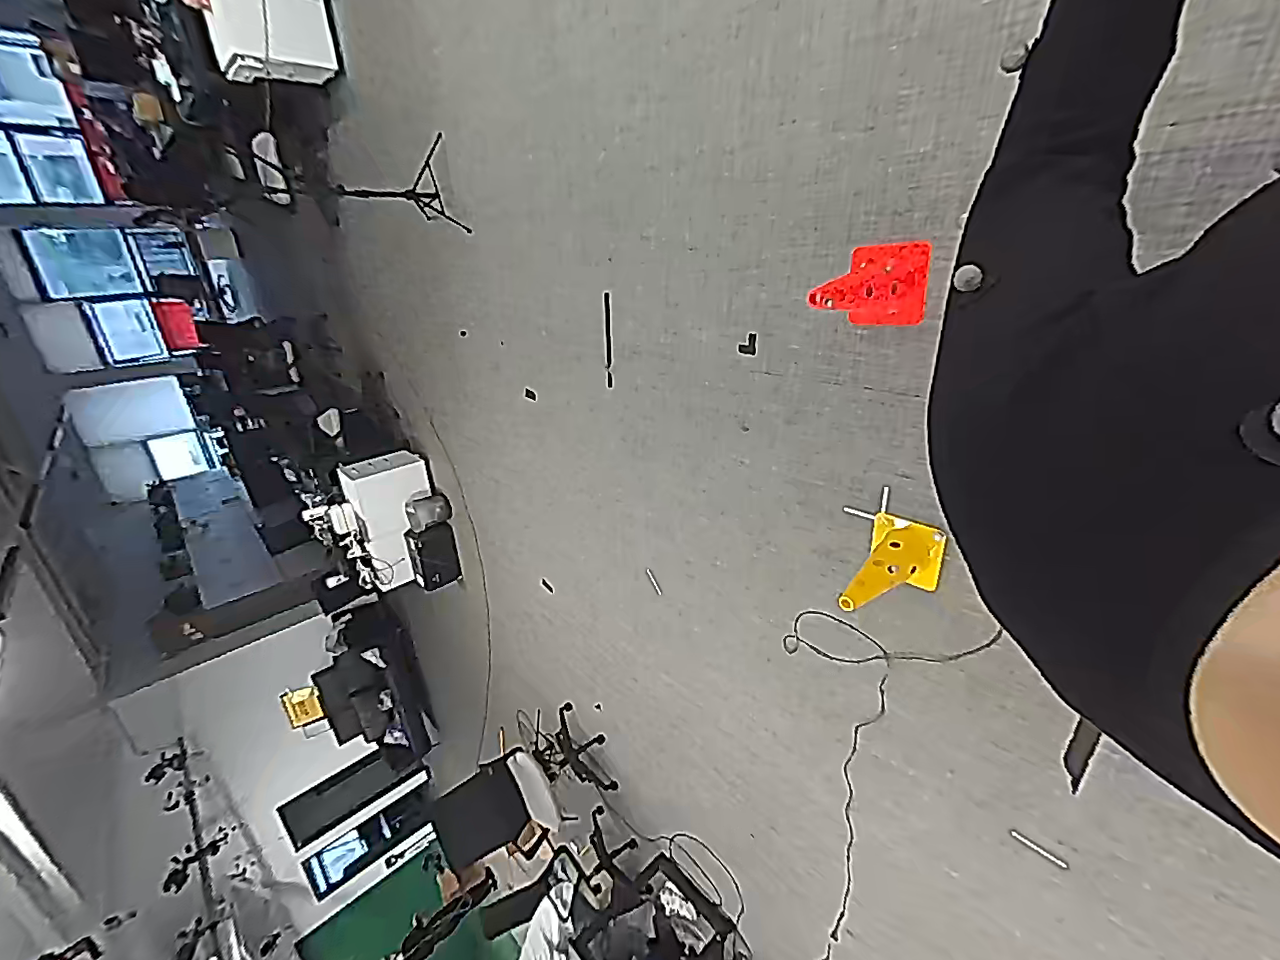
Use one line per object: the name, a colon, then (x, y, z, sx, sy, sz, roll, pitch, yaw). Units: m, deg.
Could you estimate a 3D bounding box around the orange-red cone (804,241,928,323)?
orange-red cone: (0.509, -0.456, 1.297, 0.198, 0.360, 0.199, 20, 124, 45)
